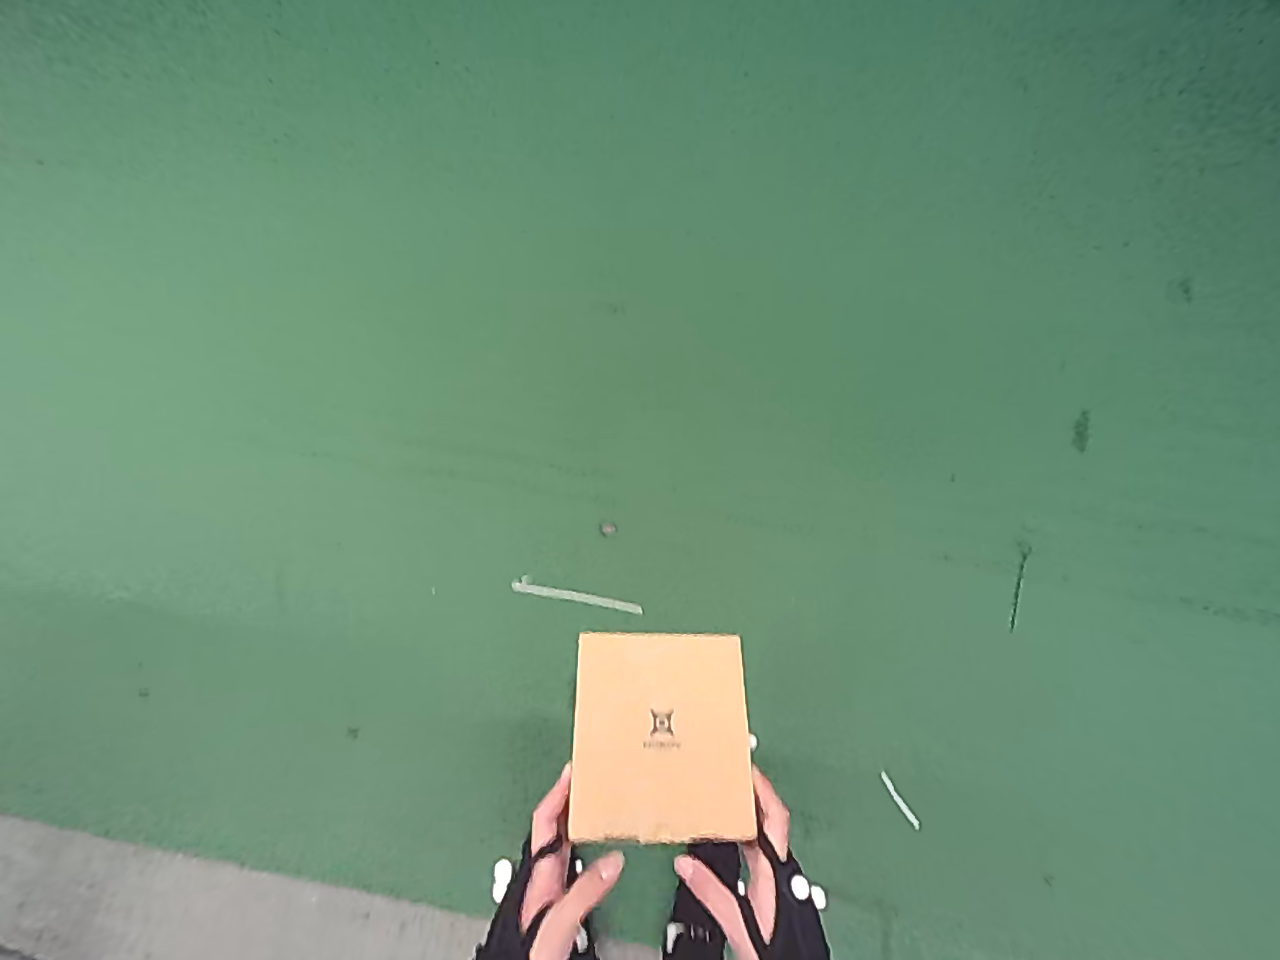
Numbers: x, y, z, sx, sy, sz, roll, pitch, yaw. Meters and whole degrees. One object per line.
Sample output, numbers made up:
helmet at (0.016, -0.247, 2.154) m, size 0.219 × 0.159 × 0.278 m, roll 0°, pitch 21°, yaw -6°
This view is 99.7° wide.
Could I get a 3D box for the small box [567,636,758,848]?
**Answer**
small box at (0.013, 0.272, 0.563) m, size 0.168 × 0.176 × 0.179 m, roll 2°, pitch 61°, yaw -4°
